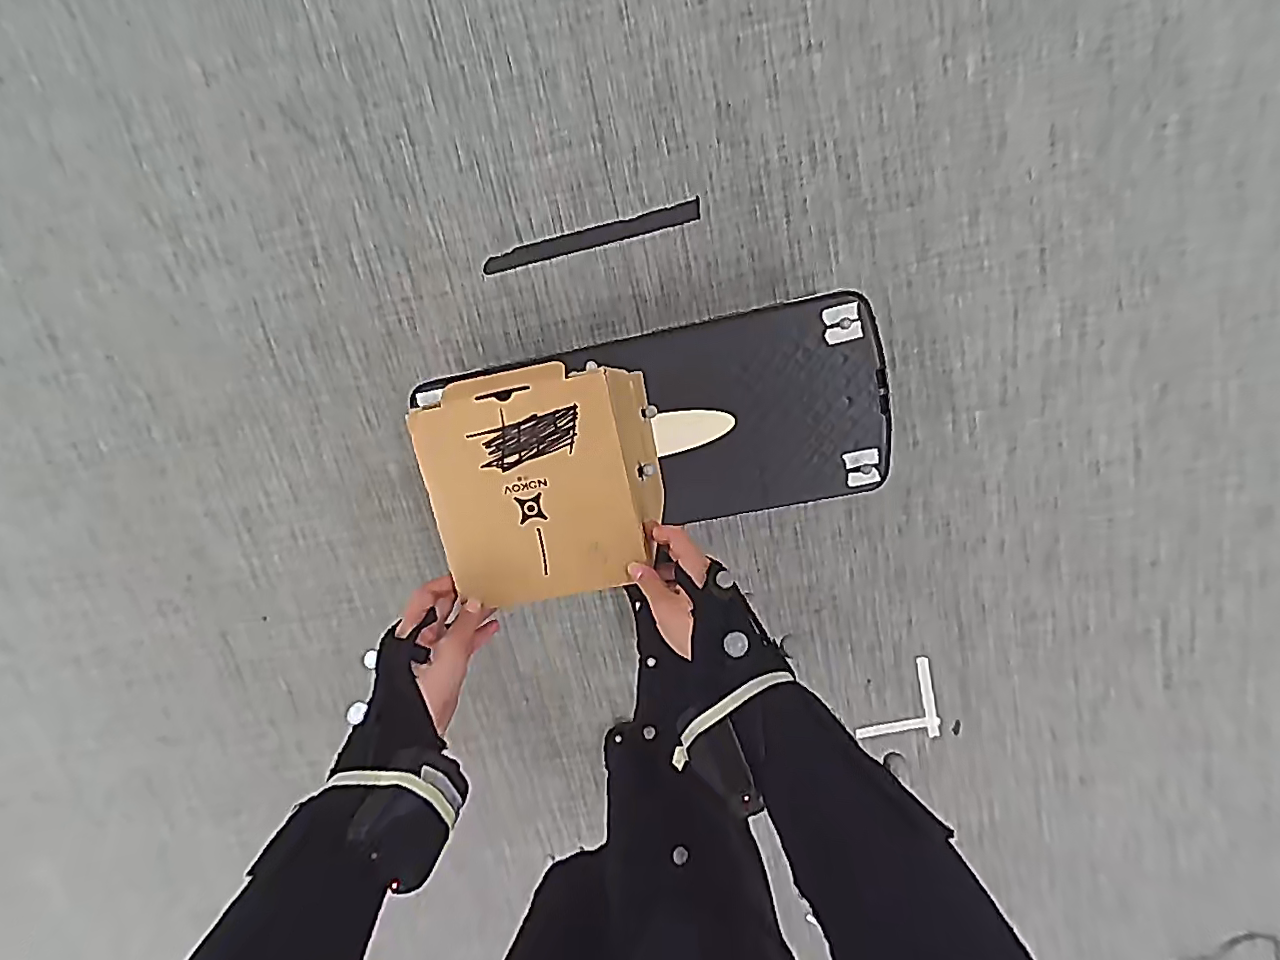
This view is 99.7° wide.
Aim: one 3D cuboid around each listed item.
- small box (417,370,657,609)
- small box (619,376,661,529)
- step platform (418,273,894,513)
[{"bbox_3d":[-0.080,-0.001,0.518,0.168,0.176,0.179,-11,100,6],"label":"small box"},{"bbox_3d":[-0.067,-0.032,0.682,0.168,0.176,0.179,-9,102,6],"label":"small box"},{"bbox_3d":[0.021,-0.102,0.839,0.684,0.204,0.286,-11,101,6],"label":"step platform"}]
